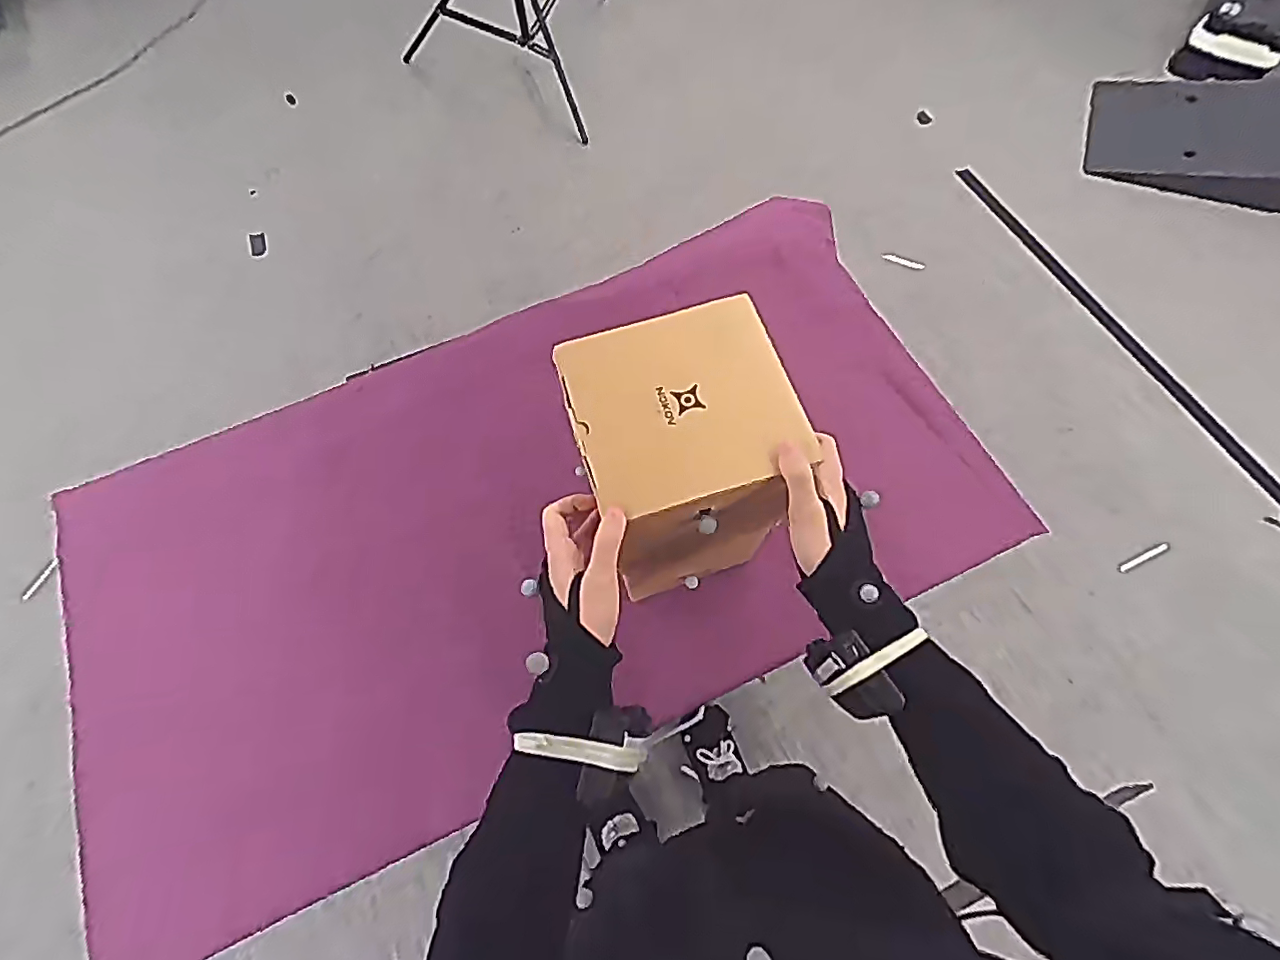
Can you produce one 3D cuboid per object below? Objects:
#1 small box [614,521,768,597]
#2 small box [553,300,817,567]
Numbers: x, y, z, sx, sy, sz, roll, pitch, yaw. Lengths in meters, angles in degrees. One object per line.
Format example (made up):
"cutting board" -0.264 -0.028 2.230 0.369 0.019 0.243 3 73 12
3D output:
"small box" 0.033 0.025 0.657 0.168 0.176 0.179 -18 70 -5
"small box" 0.034 -0.031 0.505 0.179 0.176 0.168 -17 70 -3
